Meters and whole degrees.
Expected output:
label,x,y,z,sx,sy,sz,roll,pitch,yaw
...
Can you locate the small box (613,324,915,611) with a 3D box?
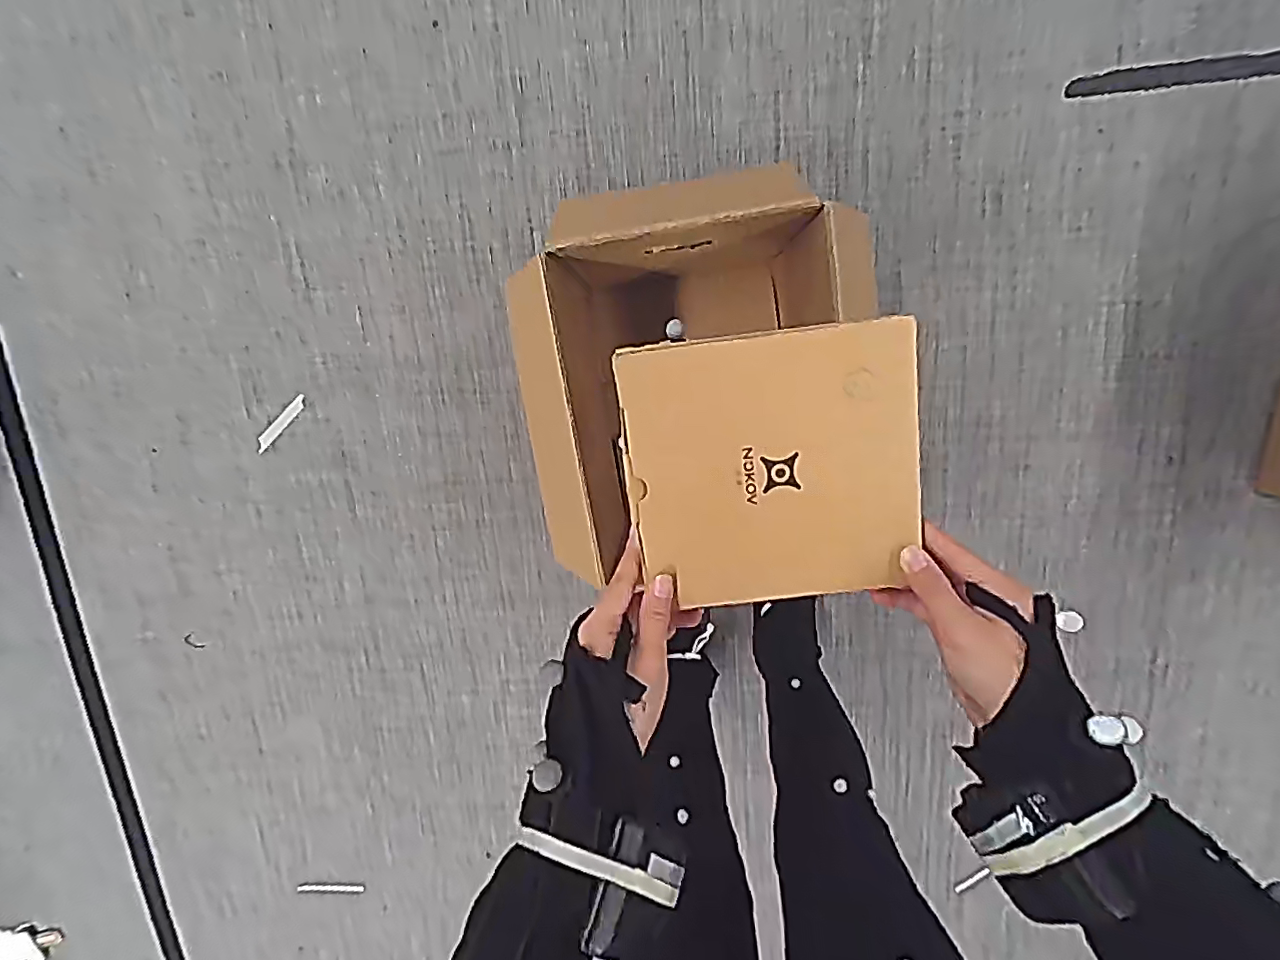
label,x,y,z,sx,sy,sz,roll,pitch,yaw
small box,0.081,-0.021,0.408,0.179,0.176,0.168,-7,102,4
